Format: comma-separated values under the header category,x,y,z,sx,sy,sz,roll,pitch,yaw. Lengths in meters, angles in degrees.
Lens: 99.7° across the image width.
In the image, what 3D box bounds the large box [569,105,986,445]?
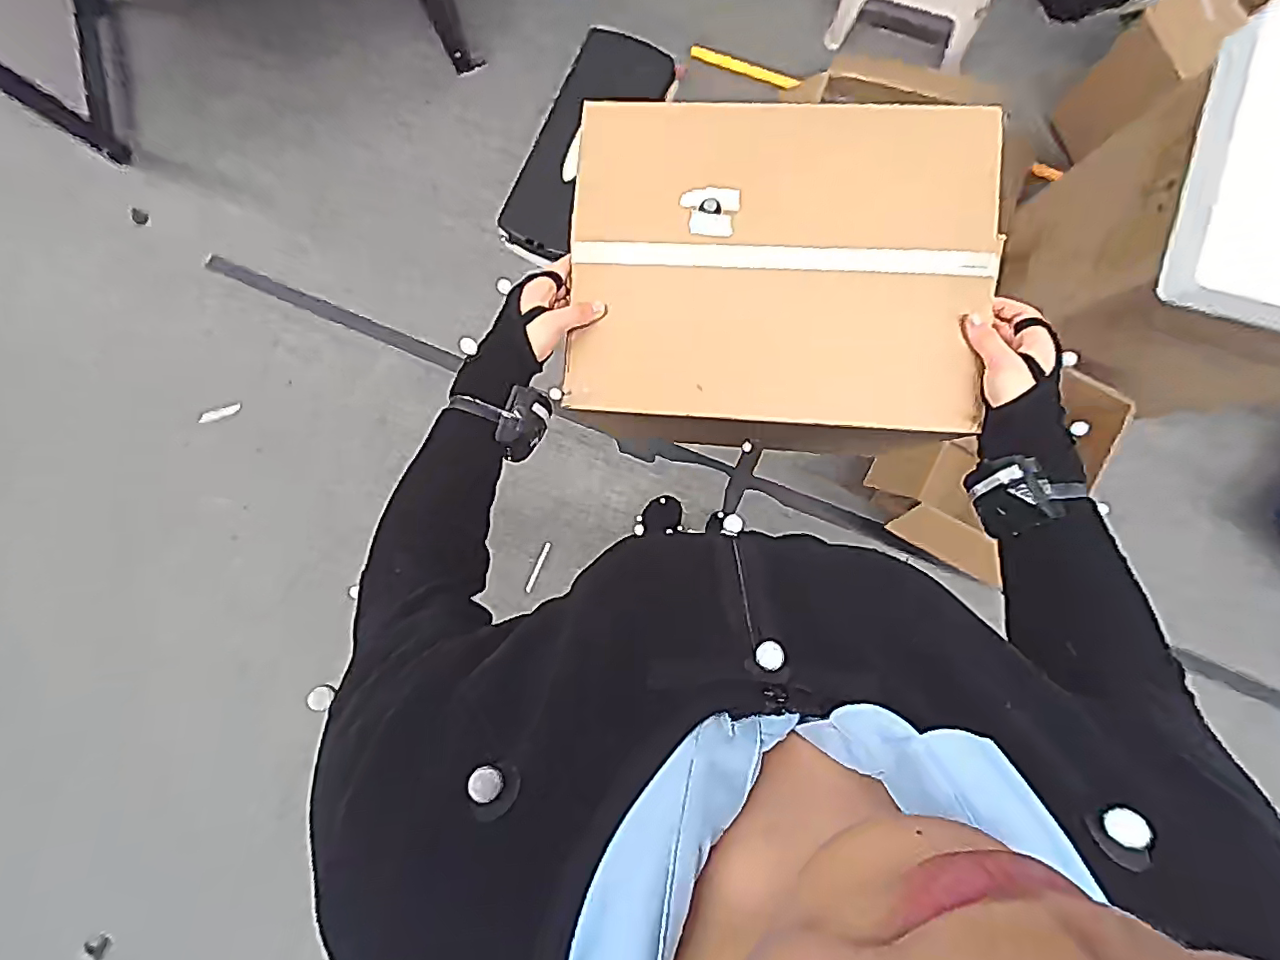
category,x,y,z,sx,sy,sz,roll,pitch,yaw
large box,0.148,-0.212,0.686,0.408,0.320,0.320,3,88,7
